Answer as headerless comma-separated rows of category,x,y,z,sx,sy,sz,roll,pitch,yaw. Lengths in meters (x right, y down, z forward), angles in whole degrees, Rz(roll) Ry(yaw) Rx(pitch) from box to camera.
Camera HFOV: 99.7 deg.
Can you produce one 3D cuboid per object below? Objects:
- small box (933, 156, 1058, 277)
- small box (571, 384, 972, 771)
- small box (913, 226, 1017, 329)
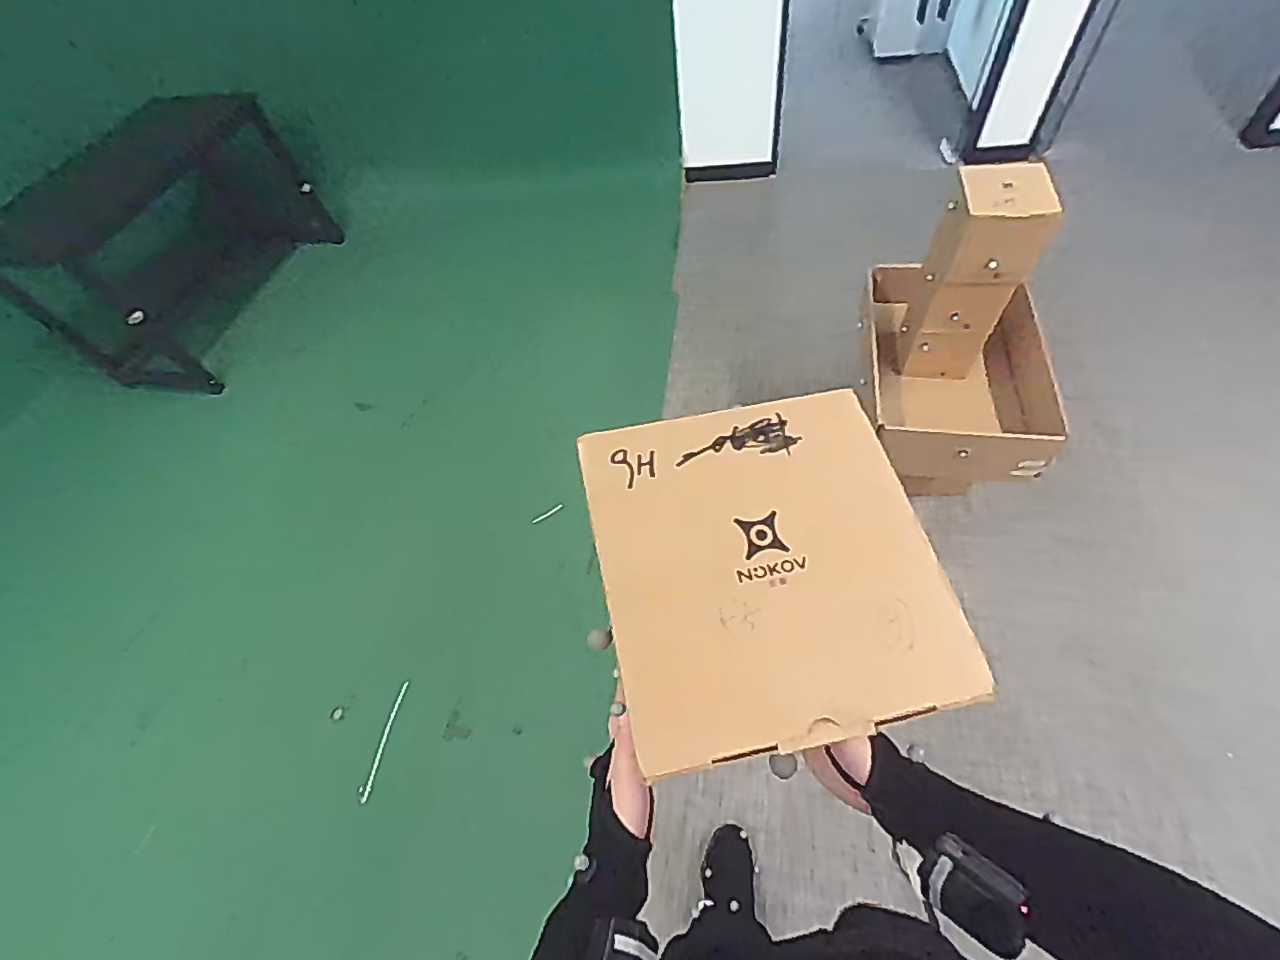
small box,0.753,-0.566,1.169,0.168,0.176,0.179,3,61,12
small box,0.057,0.068,0.346,0.168,0.176,0.179,-10,64,-5
small box,0.779,-0.493,1.315,0.168,0.176,0.179,5,61,12
